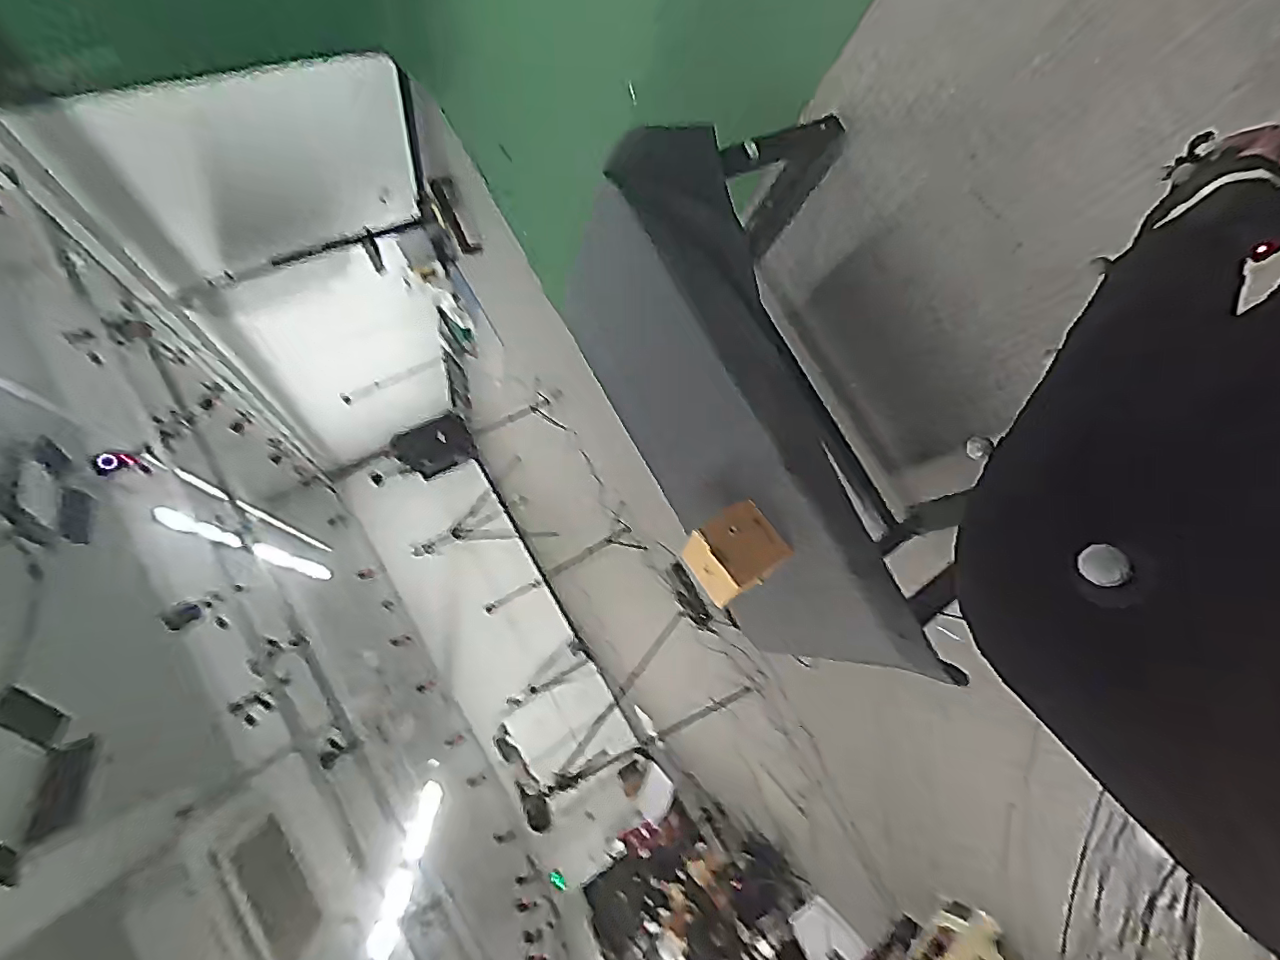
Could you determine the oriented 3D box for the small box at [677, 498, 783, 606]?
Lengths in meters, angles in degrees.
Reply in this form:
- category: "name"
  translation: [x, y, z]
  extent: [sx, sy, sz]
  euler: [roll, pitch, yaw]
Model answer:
- category: "small box"
  translation: [0.214, 0.170, 1.292]
  extent: [0.168, 0.176, 0.179]
  euler: [55, 159, 20]
